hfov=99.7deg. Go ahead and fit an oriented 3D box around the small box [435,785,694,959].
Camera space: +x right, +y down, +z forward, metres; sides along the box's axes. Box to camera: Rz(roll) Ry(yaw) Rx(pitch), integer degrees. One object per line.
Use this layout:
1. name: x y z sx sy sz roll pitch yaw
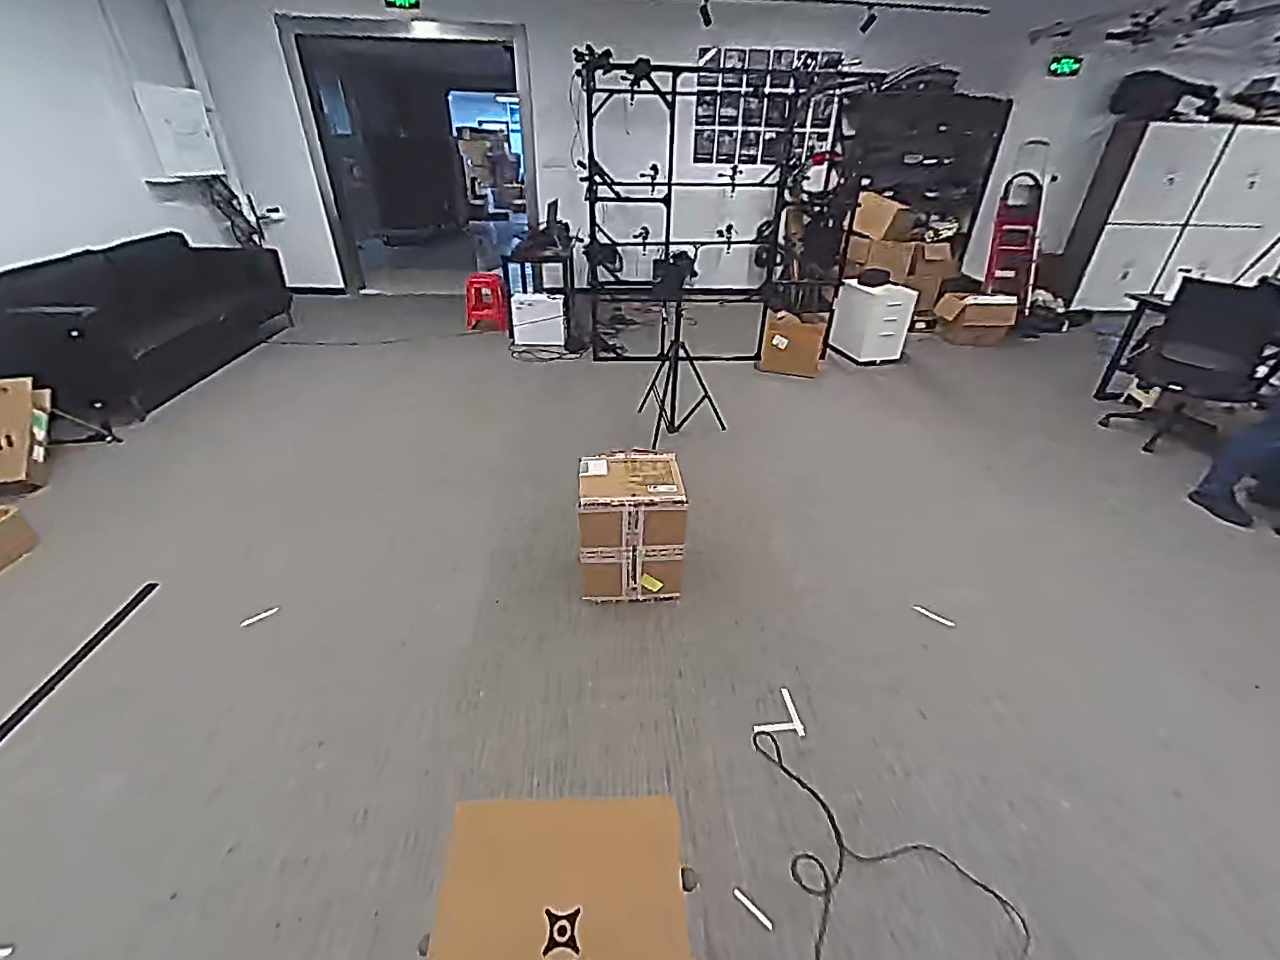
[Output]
1. small box: -0.054 0.353 0.402 0.168 0.176 0.179 1 42 -5
